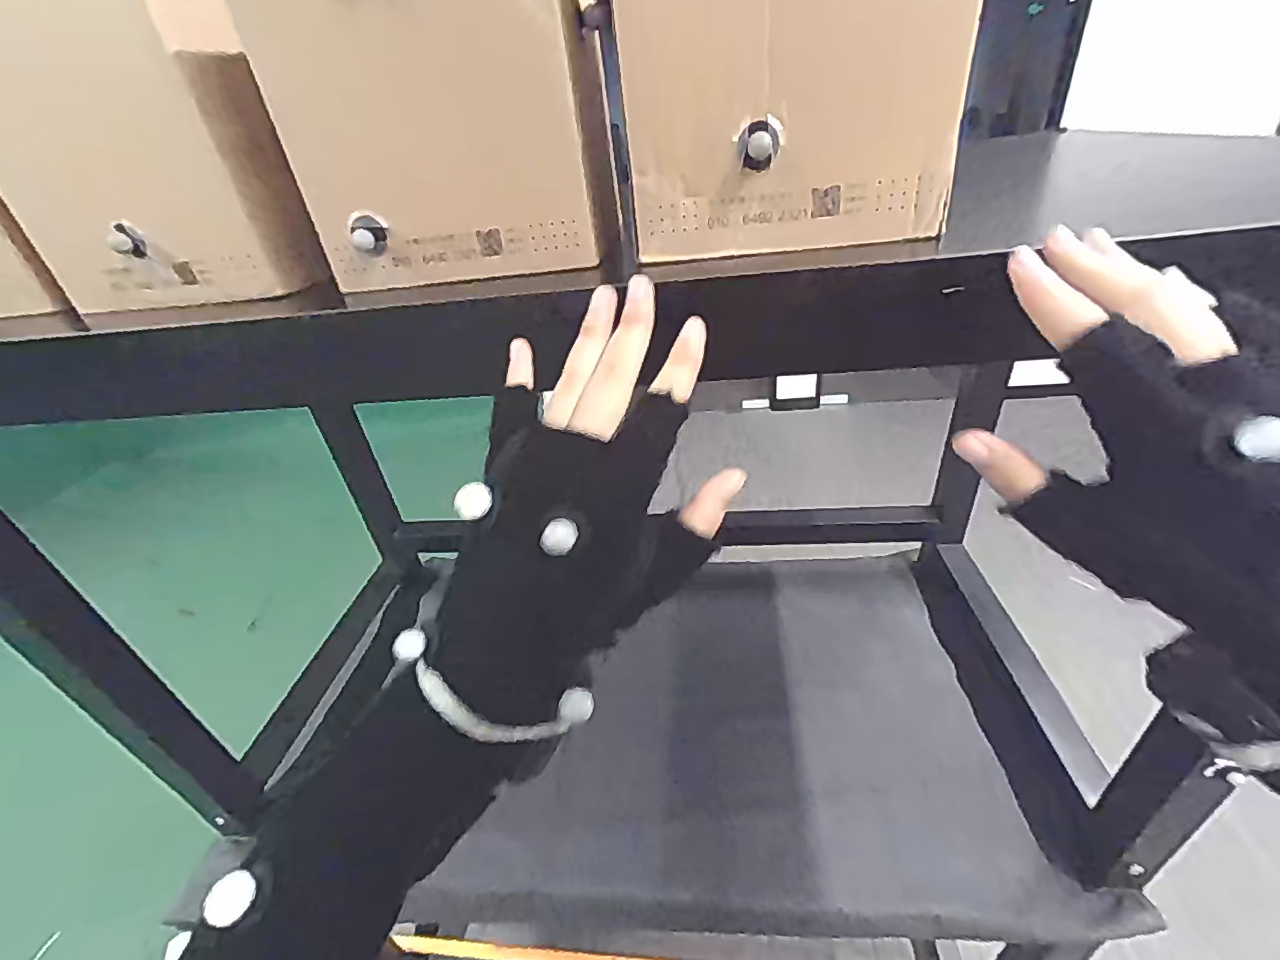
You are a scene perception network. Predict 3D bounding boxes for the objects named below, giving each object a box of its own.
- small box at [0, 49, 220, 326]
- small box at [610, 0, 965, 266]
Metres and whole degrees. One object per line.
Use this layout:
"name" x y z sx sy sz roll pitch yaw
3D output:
"small box" -0.503 -0.228 0.437 0.168 0.176 0.179 -1 33 8
"small box" 0.078 -0.239 0.335 0.168 0.176 0.179 -2 33 9
